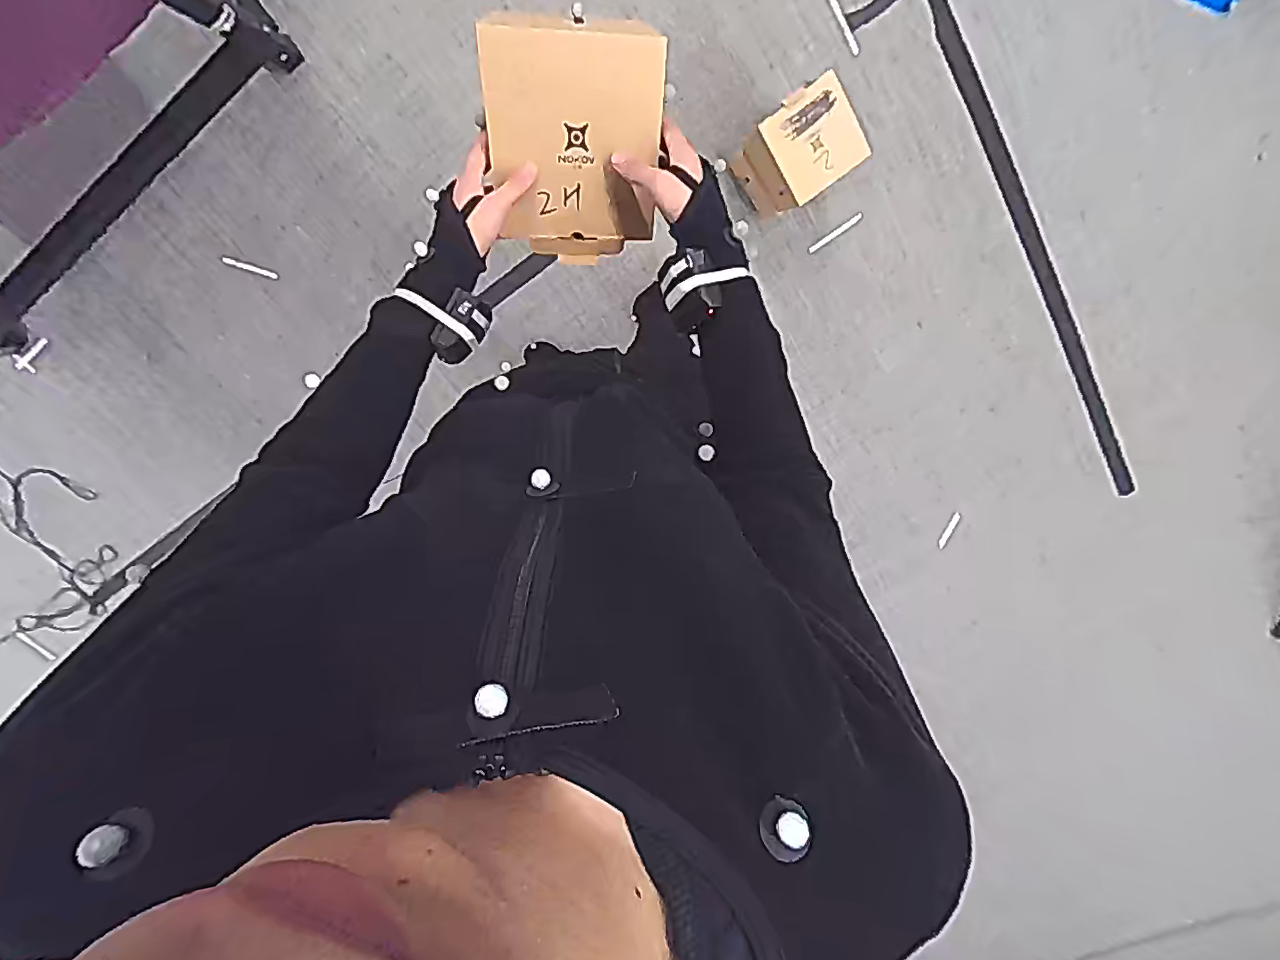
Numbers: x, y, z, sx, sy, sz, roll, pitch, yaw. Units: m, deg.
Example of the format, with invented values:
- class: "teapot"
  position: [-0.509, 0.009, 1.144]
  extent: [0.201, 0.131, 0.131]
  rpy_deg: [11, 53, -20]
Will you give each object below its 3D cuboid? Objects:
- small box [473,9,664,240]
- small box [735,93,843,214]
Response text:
- class: "small box"
  position: [-0.075, -0.374, 0.570]
  extent: [0.168, 0.176, 0.179]
  rpy_deg: [-1, 134, -7]
- class: "small box"
  position: [0.340, -0.757, 1.278]
  extent: [0.179, 0.176, 0.168]
  rpy_deg: [-37, 108, 13]
